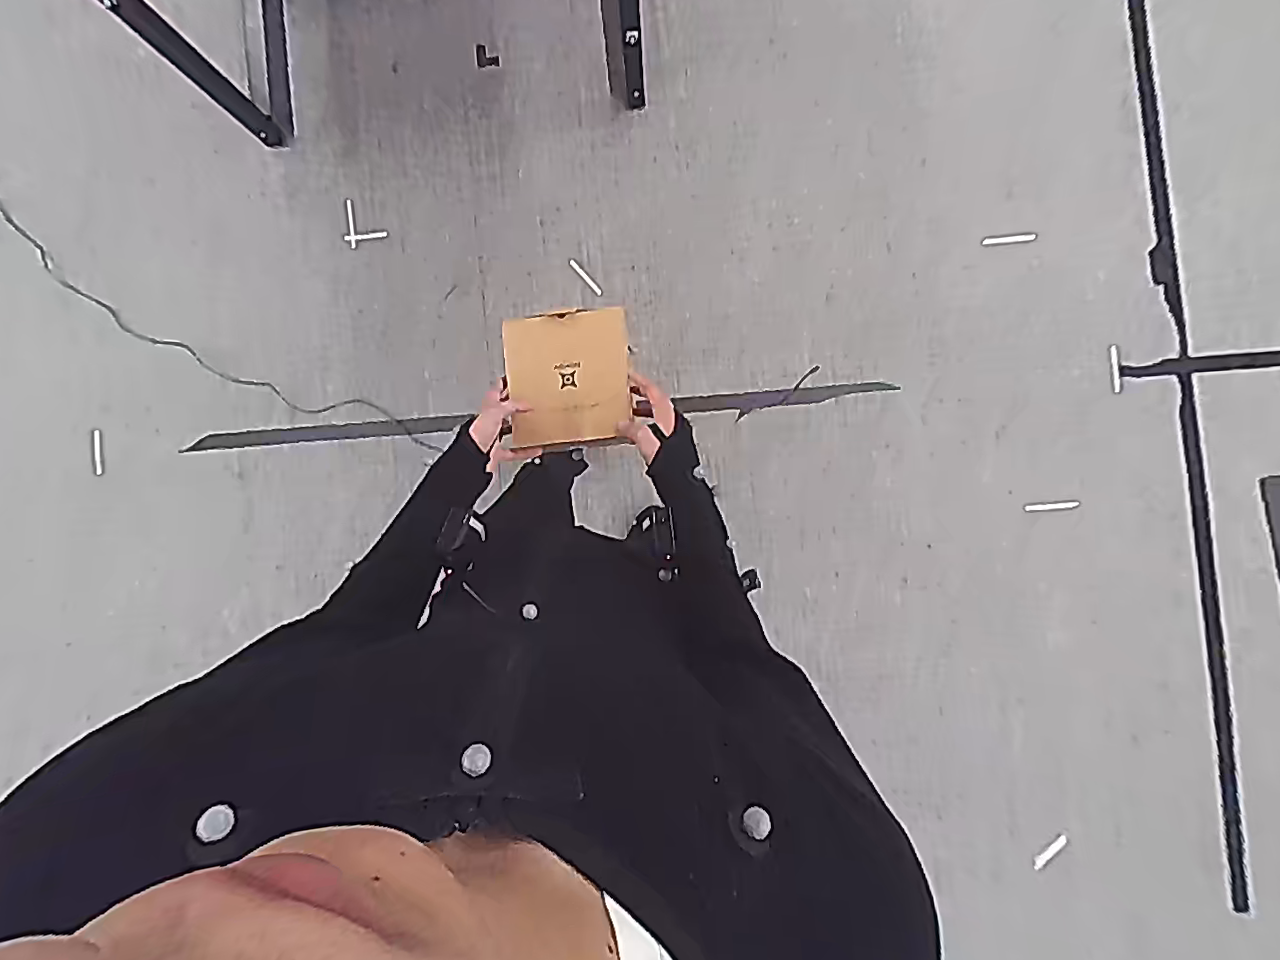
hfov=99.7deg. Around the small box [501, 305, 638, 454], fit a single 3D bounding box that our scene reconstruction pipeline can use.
[{"bbox_3d":[-0.094,-0.136,0.792,0.168,0.176,0.179,-6,89,3],"label":"small box"}]
